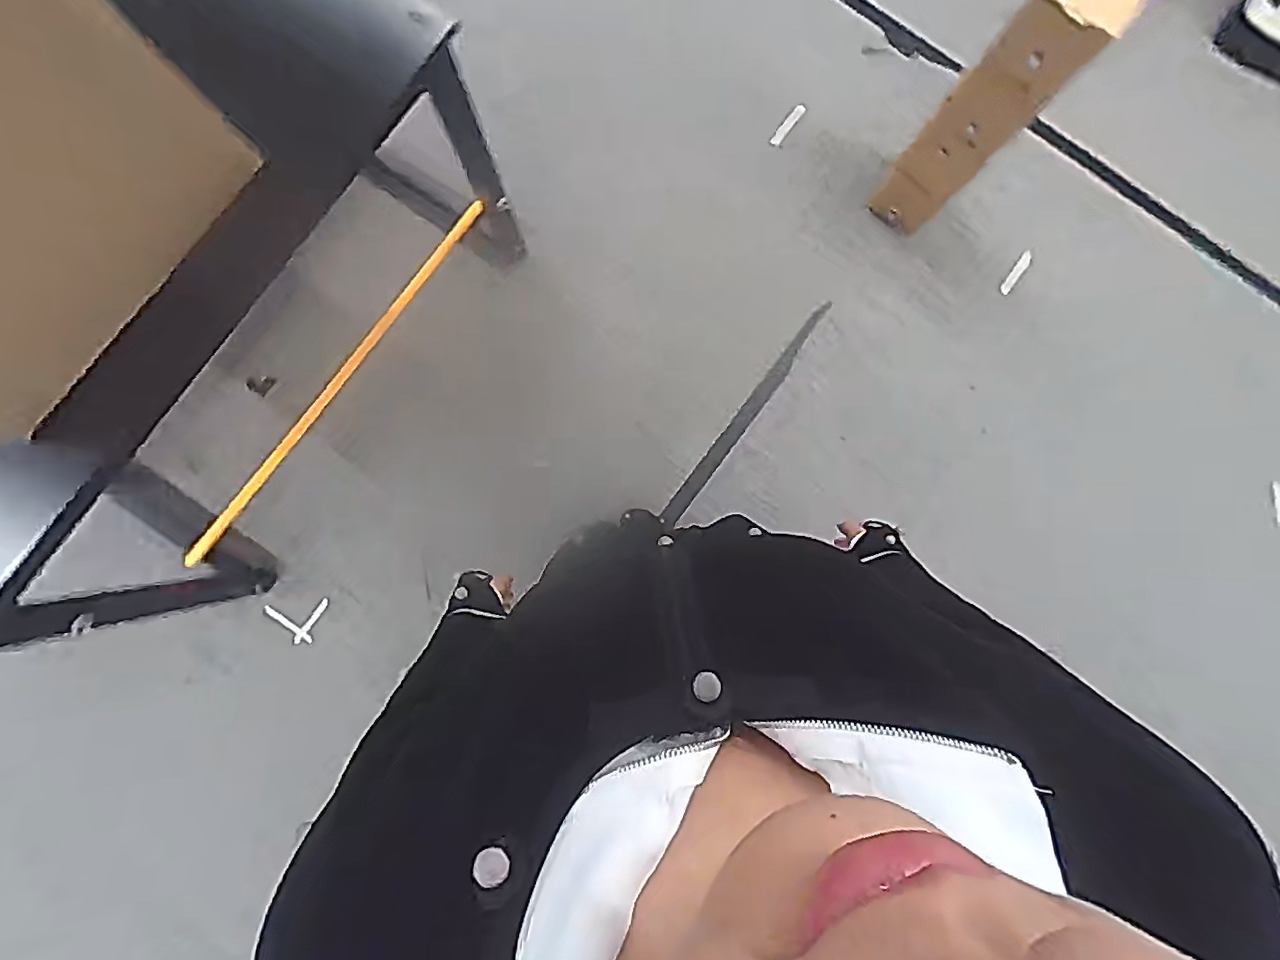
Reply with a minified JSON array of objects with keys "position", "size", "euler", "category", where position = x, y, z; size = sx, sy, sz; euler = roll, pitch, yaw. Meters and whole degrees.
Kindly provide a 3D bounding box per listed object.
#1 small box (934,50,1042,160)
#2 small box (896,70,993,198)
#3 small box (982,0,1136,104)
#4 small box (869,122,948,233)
[{"position":[0.790,-0.859,1.182],"size":[0.168,0.176,0.179],"euler":[38,86,2],"category":"small box"},{"position":[0.781,-0.848,1.346],"size":[0.179,0.176,0.168],"euler":[35,86,1],"category":"small box"},{"position":[0.791,-0.869,1.018],"size":[0.168,0.176,0.179],"euler":[36,87,1],"category":"small box"},{"position":[0.775,-0.837,1.510],"size":[0.168,0.176,0.179],"euler":[31,87,1],"category":"small box"}]
